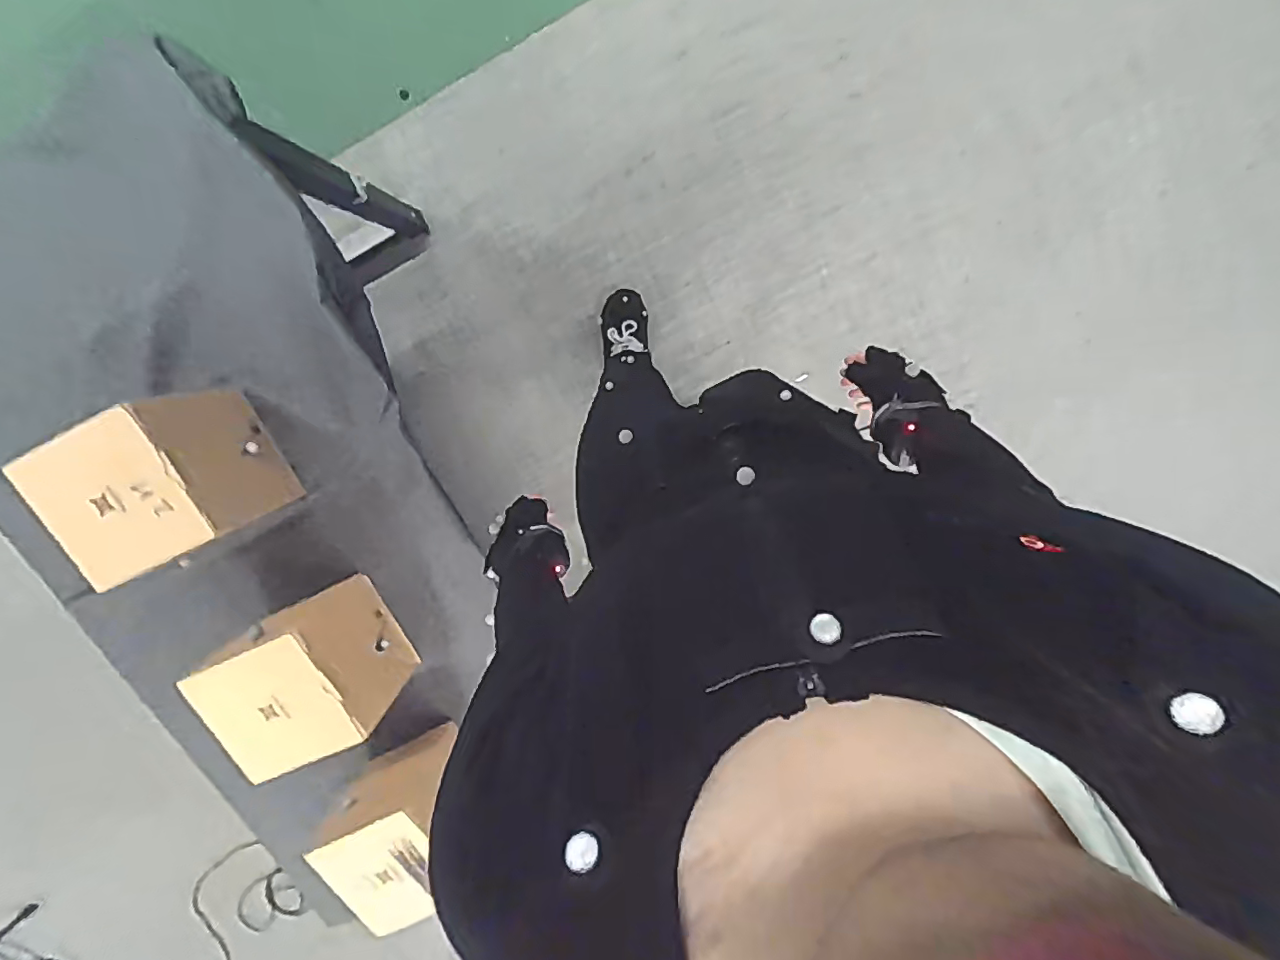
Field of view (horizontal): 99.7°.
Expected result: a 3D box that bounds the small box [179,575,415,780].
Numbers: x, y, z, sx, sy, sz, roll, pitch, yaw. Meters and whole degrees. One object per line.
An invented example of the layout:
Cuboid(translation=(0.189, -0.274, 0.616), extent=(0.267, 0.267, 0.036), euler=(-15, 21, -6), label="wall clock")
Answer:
Cuboid(translation=(-0.448, 0.259, 0.738), extent=(0.179, 0.176, 0.168), euler=(-25, 103, 6), label="small box")

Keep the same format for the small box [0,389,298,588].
Cuboid(translation=(-0.580, 0.000, 0.667), extent=(0.179, 0.176, 0.168), euler=(-24, 104, 7), label="small box")
